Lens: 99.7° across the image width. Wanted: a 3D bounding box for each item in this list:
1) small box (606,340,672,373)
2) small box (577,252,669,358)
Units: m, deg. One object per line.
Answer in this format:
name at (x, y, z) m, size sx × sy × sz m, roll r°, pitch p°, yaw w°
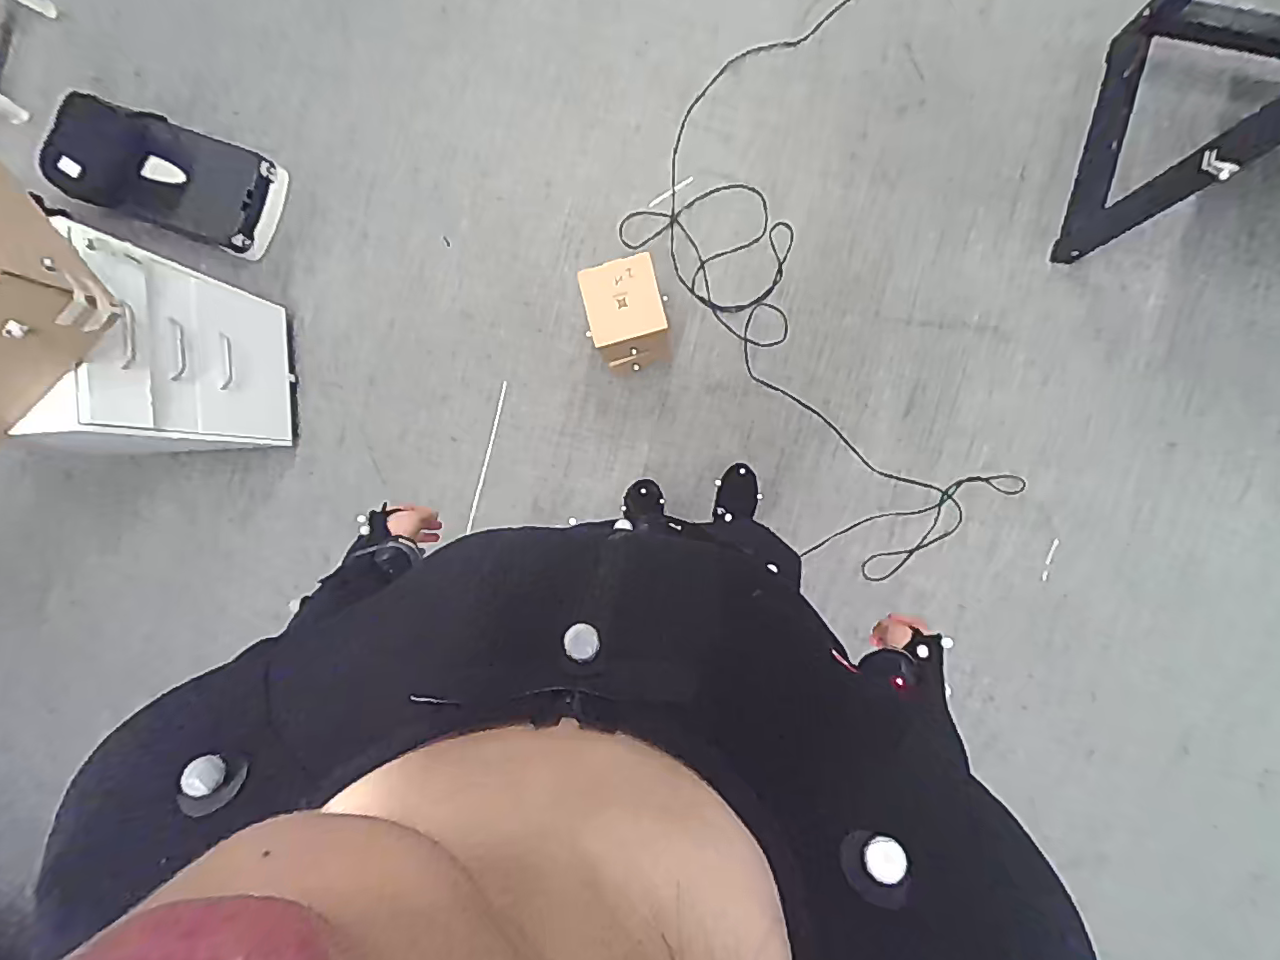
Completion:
small box at (-0.020, -0.391, 1.415) m, size 0.168 × 0.176 × 0.179 m, roll -20°, pitch 89°, yaw 5°
small box at (-0.033, -0.392, 1.251) m, size 0.168 × 0.176 × 0.179 m, roll -15°, pitch 89°, yaw 5°
